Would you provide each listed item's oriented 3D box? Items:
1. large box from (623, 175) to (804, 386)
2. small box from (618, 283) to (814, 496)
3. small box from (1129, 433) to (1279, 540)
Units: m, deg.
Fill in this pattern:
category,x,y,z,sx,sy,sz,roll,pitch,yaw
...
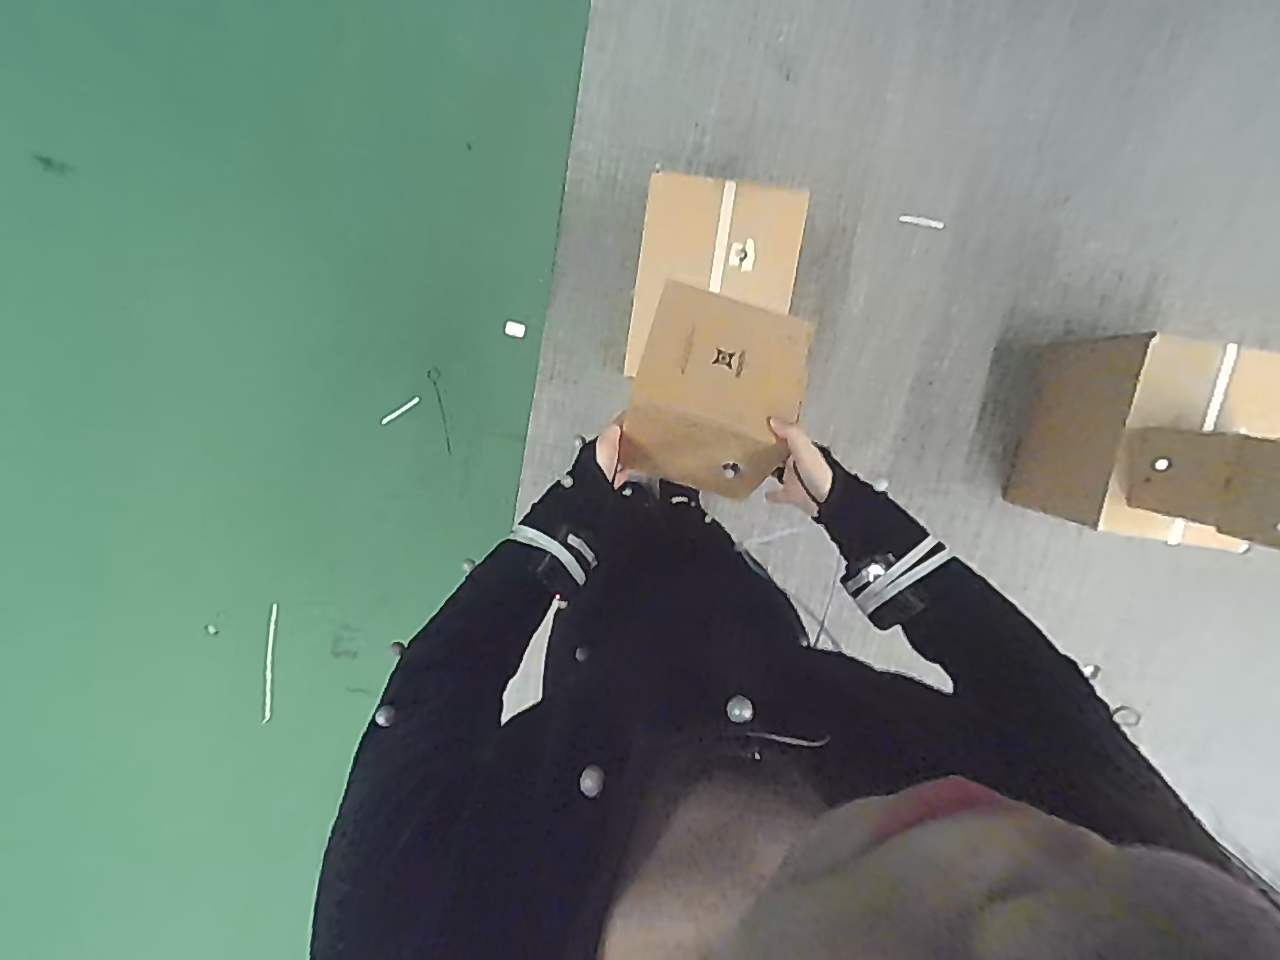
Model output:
category,x,y,z,sx,sy,sz,roll,pitch,yaw
large box,0.148,-0.398,1.222,0.320,0.320,0.408,9,98,1
small box,0.084,-0.096,0.652,0.179,0.176,0.168,17,65,-2
small box,1.093,0.006,1.016,0.179,0.176,0.168,7,100,2
